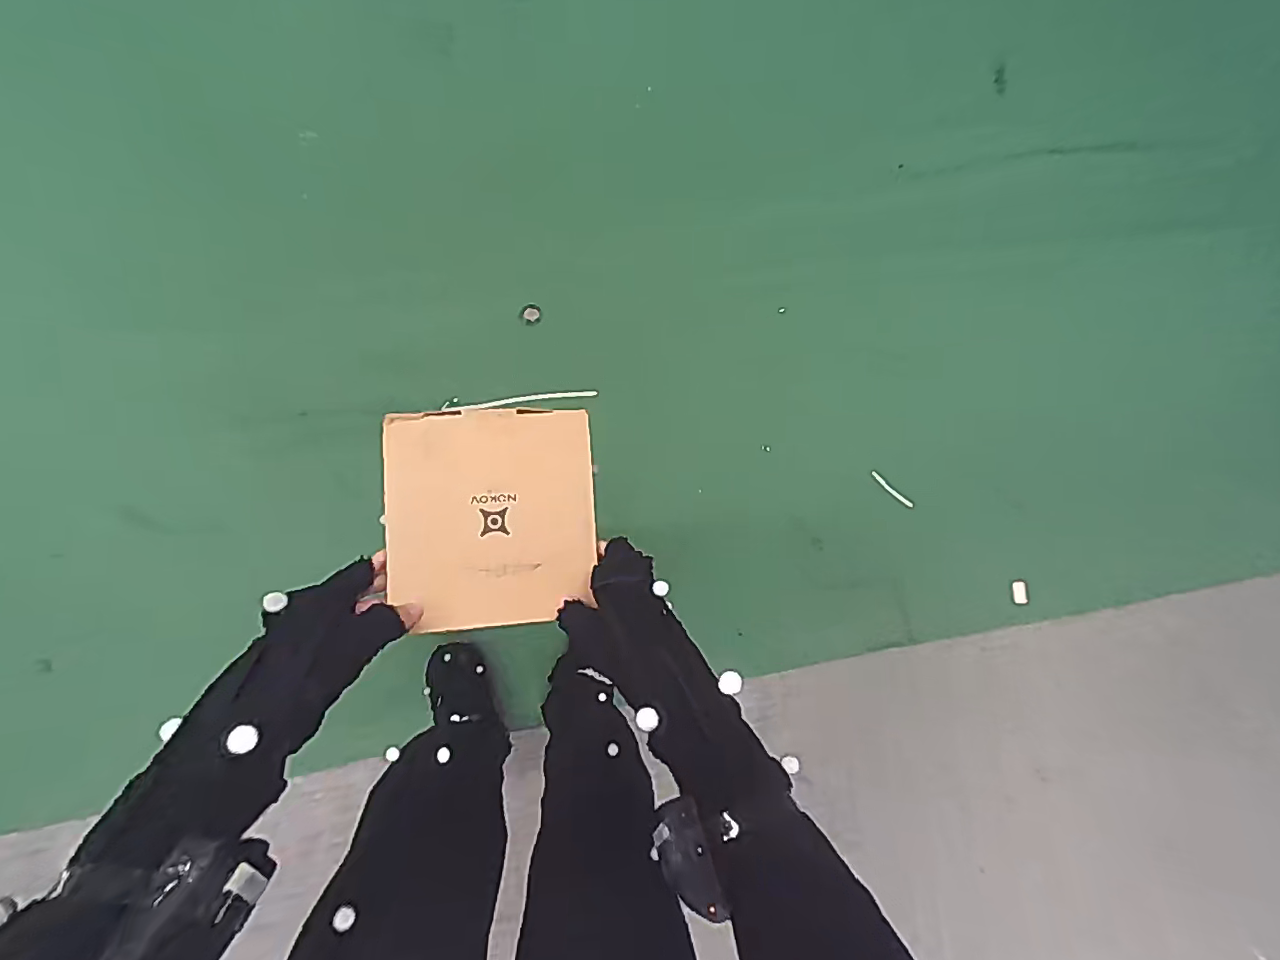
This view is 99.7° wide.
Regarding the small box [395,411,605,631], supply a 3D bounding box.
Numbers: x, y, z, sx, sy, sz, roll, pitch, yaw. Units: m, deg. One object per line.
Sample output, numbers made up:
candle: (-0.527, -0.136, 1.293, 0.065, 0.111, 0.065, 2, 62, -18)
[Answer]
small box: (-0.131, 0.038, 0.531, 0.168, 0.176, 0.179, -5, 86, -10)
